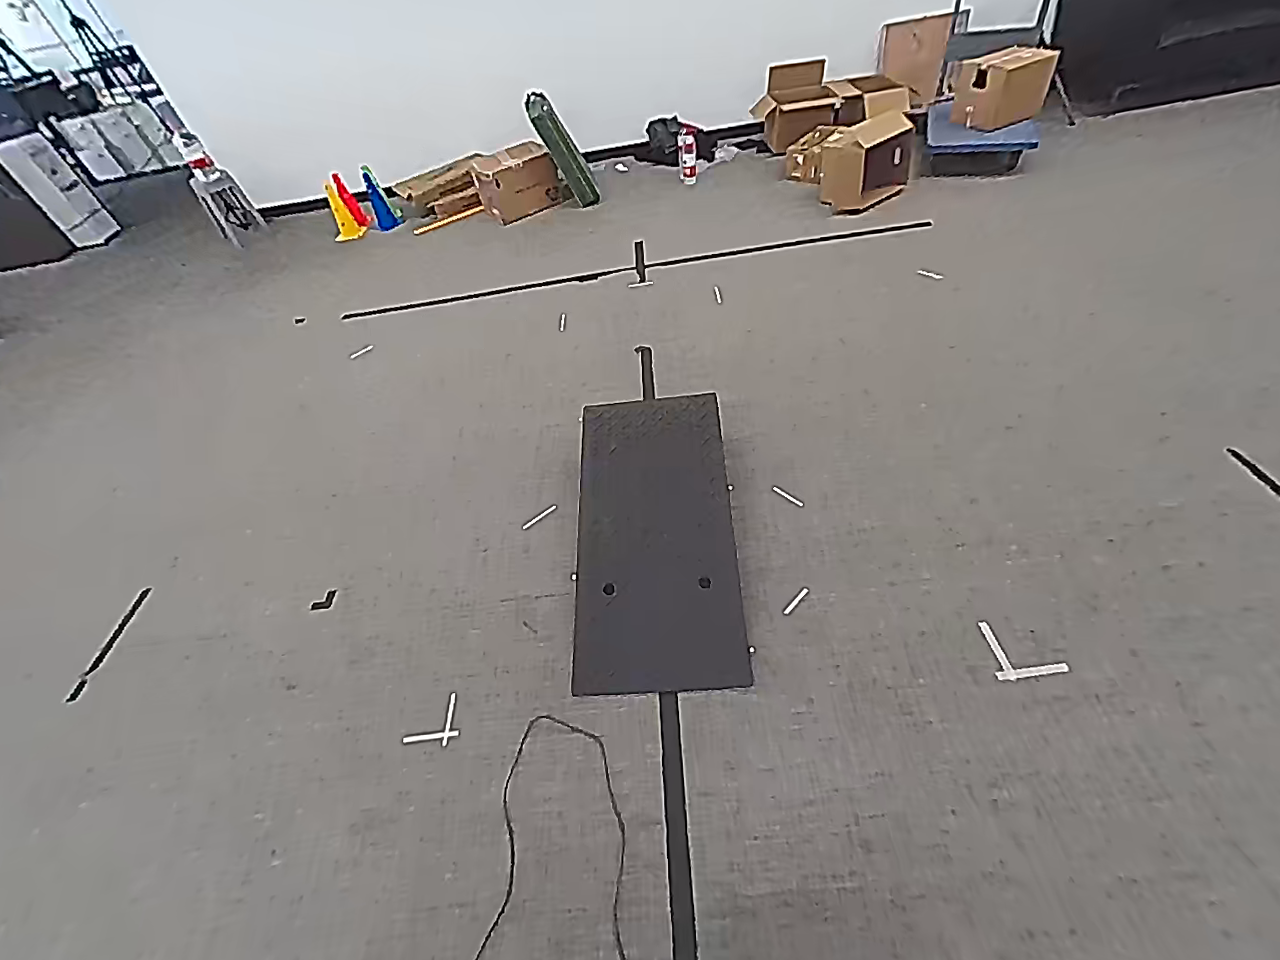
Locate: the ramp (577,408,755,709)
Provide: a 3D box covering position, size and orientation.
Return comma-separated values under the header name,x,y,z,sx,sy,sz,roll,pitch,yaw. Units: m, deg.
name,x,y,z,sx,sy,sz,roll,pitch,yaw
ramp,0.046,0.183,1.722,0.509,0.206,0.991,-7,46,4
